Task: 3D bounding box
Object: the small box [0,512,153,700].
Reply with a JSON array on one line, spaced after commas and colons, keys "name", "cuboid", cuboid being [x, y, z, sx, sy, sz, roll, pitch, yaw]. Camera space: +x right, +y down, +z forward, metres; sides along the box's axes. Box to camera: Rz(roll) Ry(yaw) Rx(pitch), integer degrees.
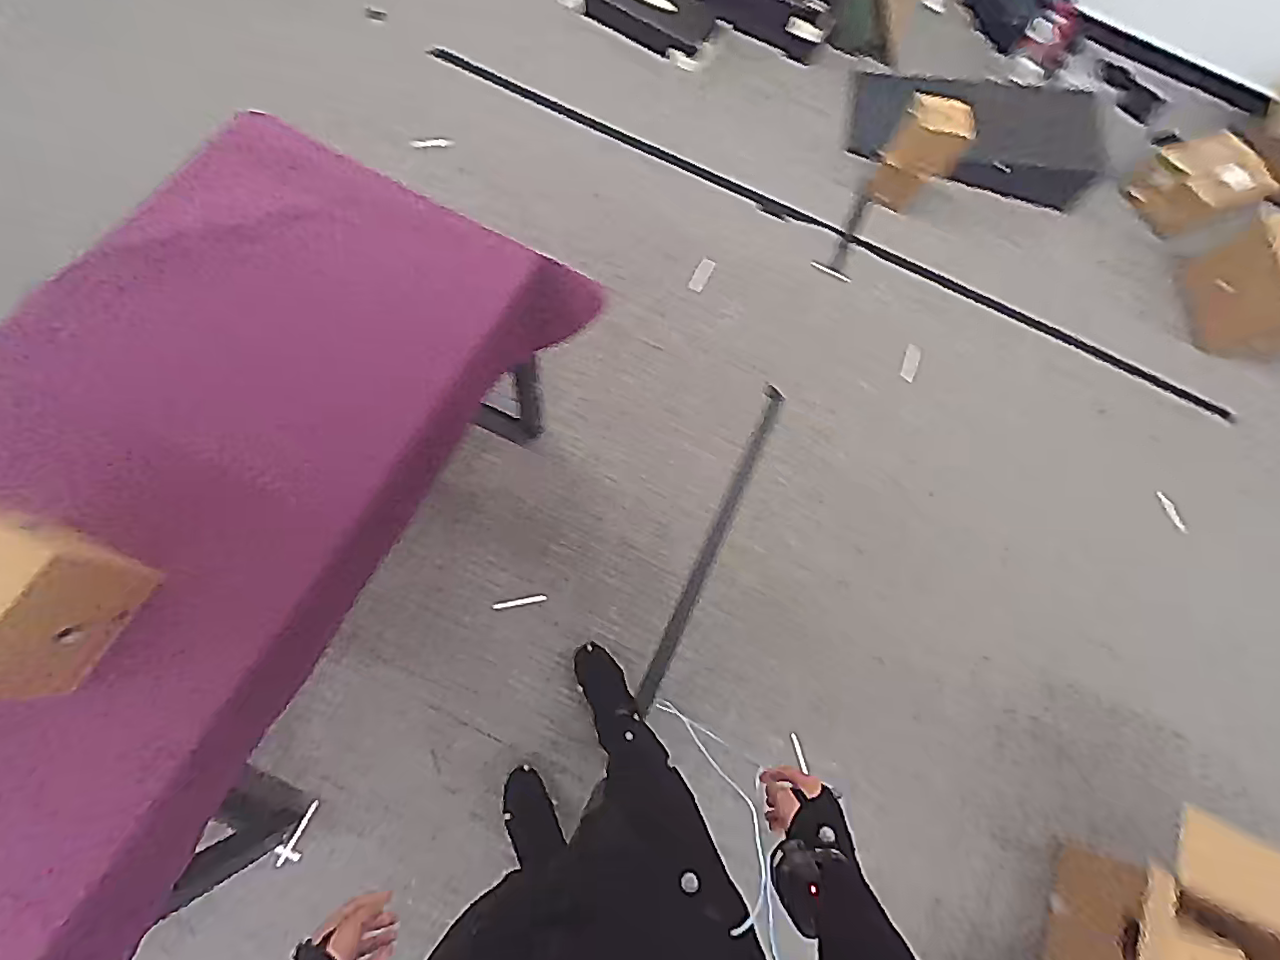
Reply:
[{"name": "small box", "cuboid": [-0.727, 0.135, 0.608, 0.179, 0.176, 0.168, 25, 69, 1]}]
